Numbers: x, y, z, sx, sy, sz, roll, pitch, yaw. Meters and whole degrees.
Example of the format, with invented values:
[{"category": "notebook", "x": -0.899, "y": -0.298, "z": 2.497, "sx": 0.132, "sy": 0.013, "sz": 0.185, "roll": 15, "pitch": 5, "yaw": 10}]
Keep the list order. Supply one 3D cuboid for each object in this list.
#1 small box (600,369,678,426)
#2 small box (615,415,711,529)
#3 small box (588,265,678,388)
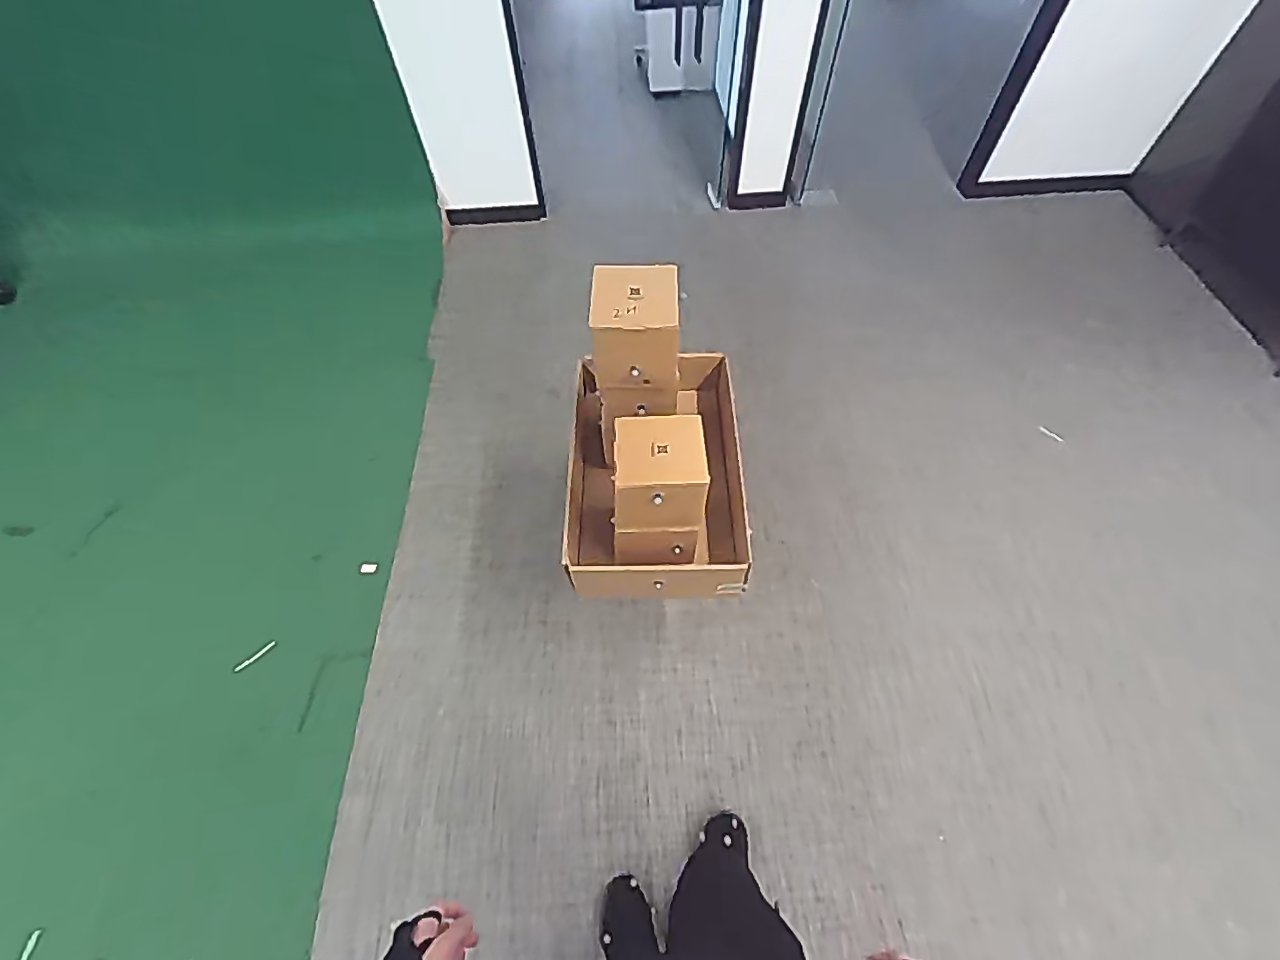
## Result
[{"category": "small box", "x": -0.007, "y": -0.234, "z": 1.229, "sx": 0.168, "sy": 0.176, "sz": 0.179, "roll": -6, "pitch": 60, "yaw": -2}, {"category": "small box", "x": 0.041, "y": -0.012, "z": 1.090, "sx": 0.179, "sy": 0.176, "sz": 0.168, "roll": -3, "pitch": 56, "yaw": 0}, {"category": "small box", "x": -0.009, "y": -0.305, "z": 1.079, "sx": 0.168, "sy": 0.176, "sz": 0.179, "roll": 0, "pitch": 59, "yaw": 3}]
